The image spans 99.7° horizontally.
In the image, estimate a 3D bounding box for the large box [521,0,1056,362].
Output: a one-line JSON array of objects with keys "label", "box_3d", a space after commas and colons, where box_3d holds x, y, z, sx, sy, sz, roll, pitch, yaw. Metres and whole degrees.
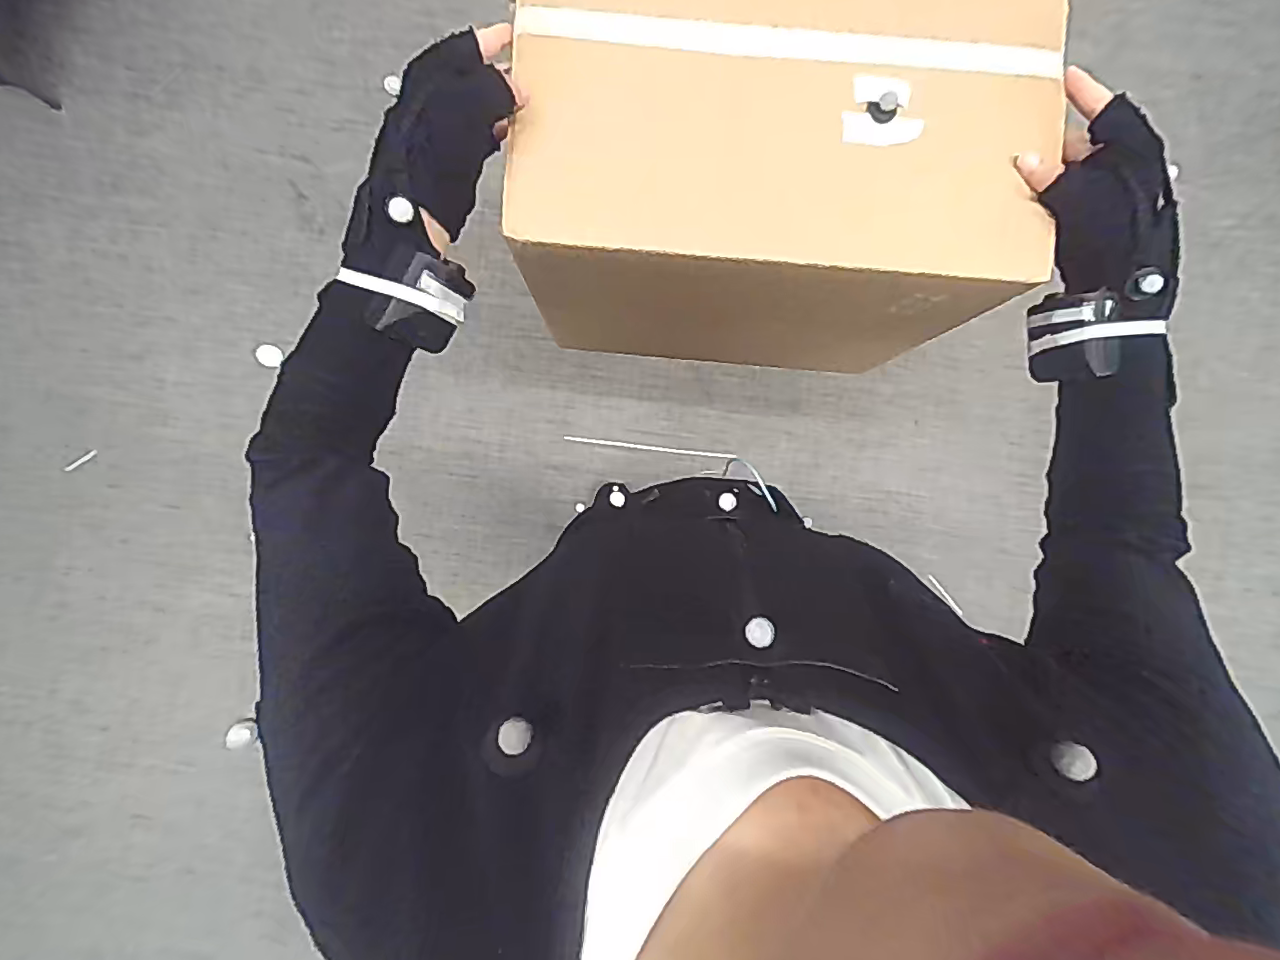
[{"label": "large box", "box_3d": [0.109, -0.318, 0.557, 0.408, 0.320, 0.320, 4, 89, -2]}]
